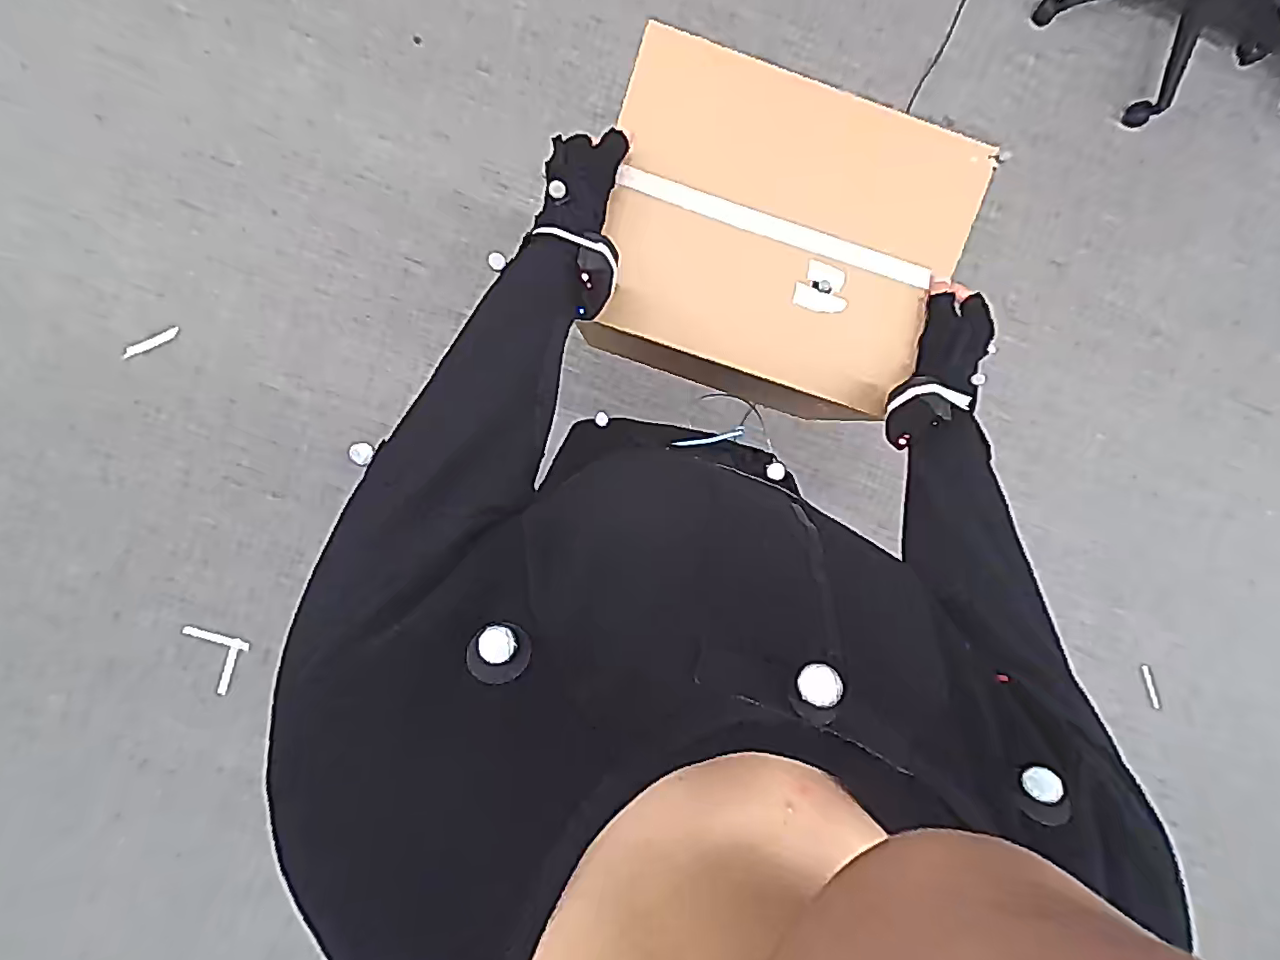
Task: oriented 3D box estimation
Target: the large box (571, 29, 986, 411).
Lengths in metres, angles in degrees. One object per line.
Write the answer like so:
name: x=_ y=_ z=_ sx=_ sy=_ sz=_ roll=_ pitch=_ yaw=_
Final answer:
large box: x=0.148 y=-0.302 z=0.754 sx=0.408 sy=0.320 sz=0.320 roll=19 pitch=97 yaw=-4
